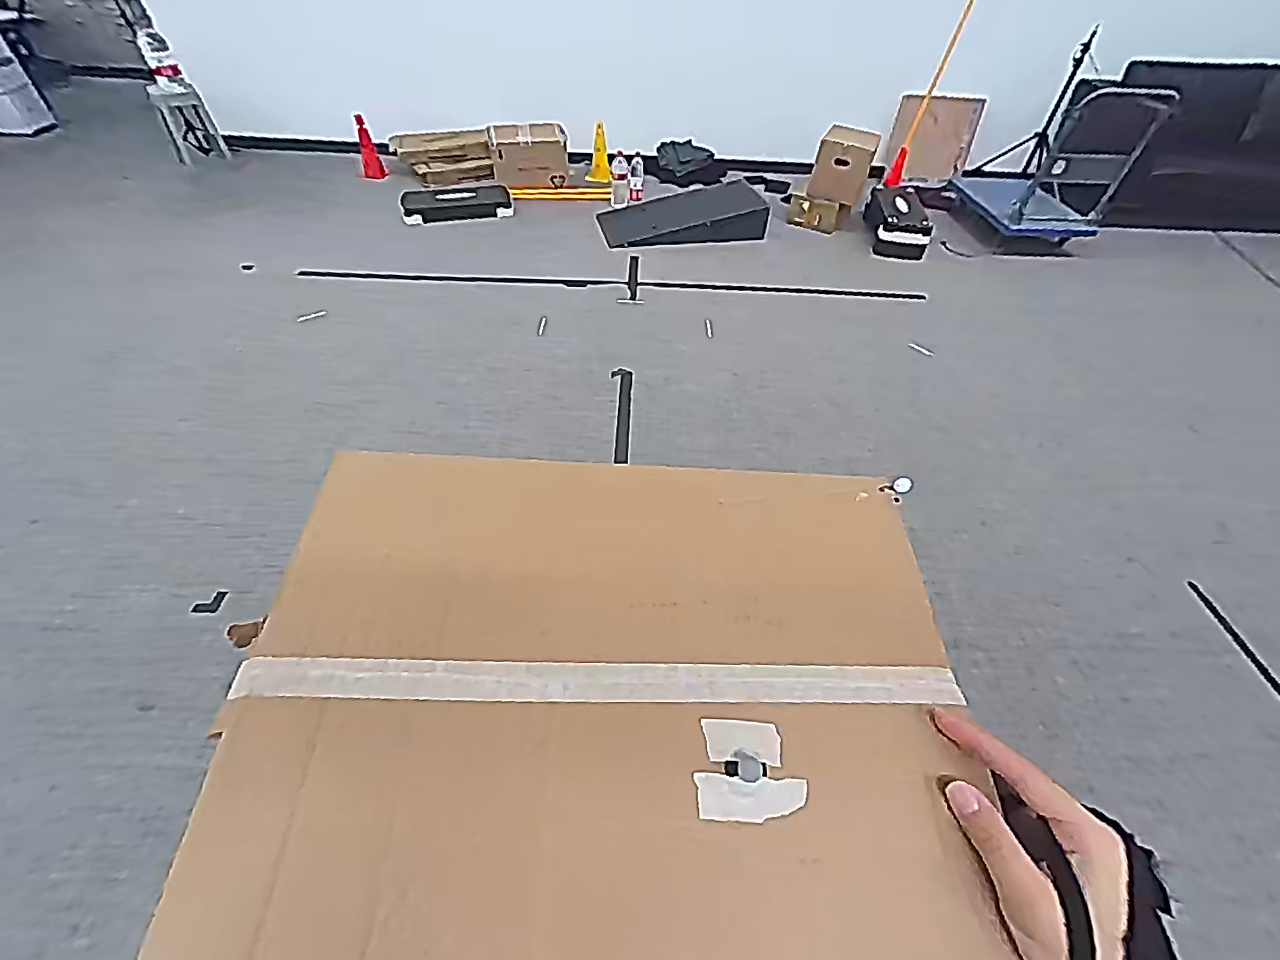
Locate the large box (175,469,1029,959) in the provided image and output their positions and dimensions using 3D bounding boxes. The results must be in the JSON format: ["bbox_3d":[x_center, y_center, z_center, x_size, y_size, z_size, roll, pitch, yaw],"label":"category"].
[{"bbox_3d":[-0.024,0.210,0.440,0.408,0.320,0.320,3,55,-5],"label":"large box"}]
